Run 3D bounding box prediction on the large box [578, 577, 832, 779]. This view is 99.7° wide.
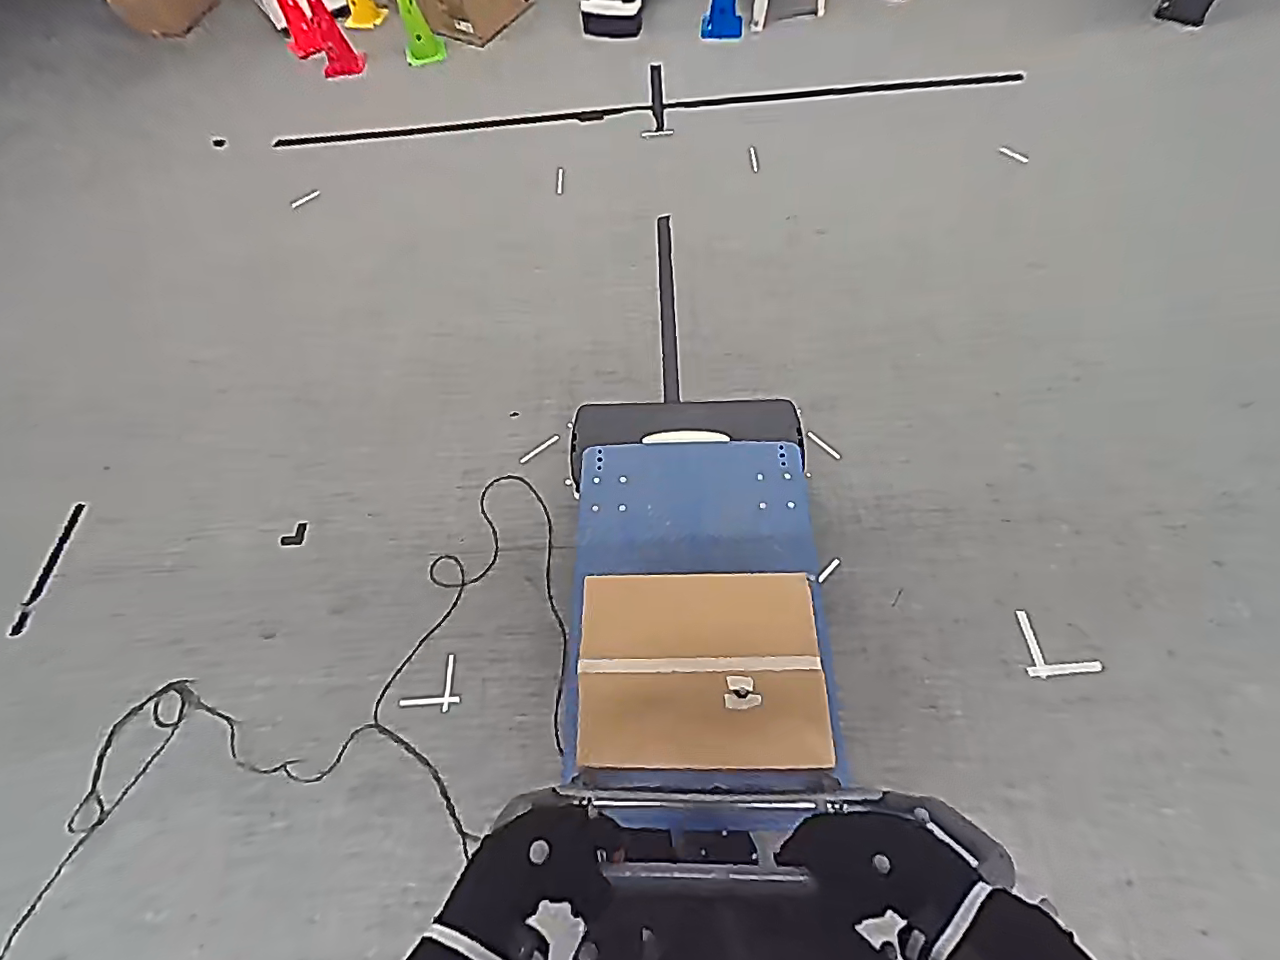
[{"bbox_3d":[0.102,0.385,1.034,0.408,0.320,0.320,-1,64,2],"label":"large box"}]
